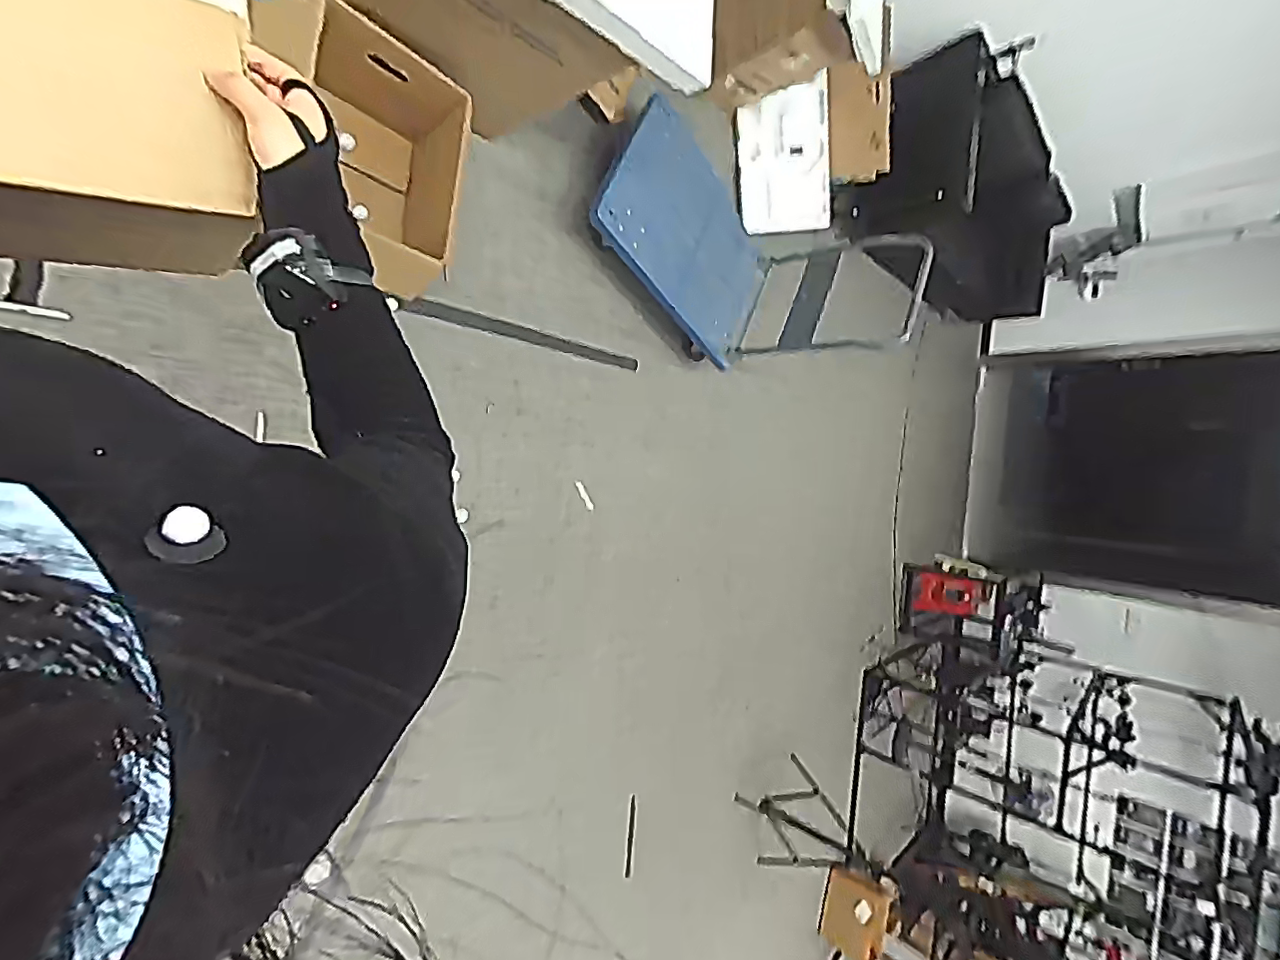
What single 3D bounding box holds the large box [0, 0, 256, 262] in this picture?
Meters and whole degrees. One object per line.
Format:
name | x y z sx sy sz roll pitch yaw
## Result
large box | -0.569 -0.360 0.400 0.408 0.320 0.320 -12 104 -40
